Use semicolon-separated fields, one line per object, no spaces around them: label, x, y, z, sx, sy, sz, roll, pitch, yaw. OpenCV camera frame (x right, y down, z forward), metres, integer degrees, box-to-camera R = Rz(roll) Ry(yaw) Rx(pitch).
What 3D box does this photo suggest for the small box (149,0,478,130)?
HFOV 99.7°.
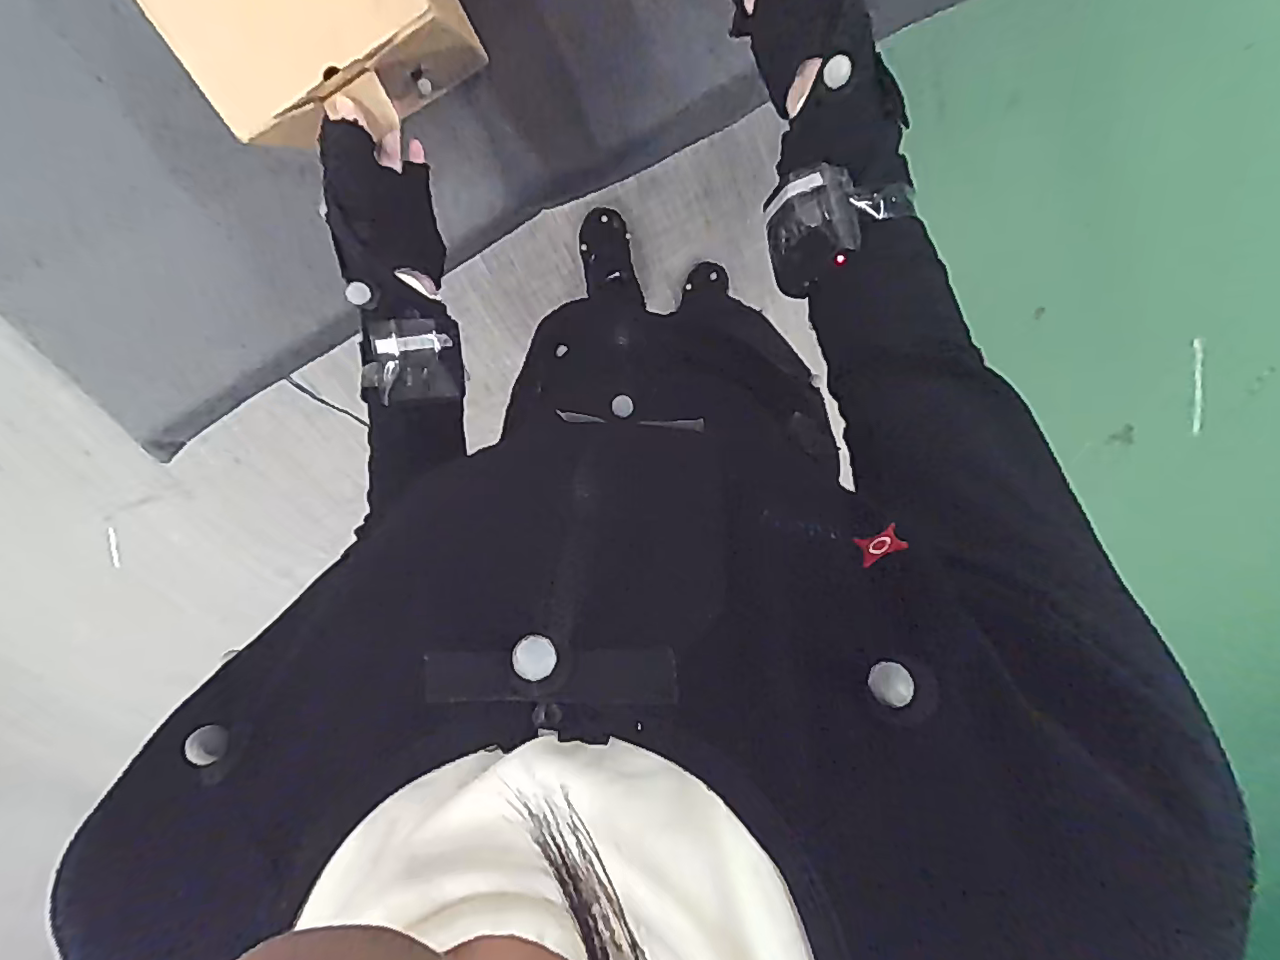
small box;-0.242;-0.381;0.388;0.168;0.176;0.179;-25;117;10
